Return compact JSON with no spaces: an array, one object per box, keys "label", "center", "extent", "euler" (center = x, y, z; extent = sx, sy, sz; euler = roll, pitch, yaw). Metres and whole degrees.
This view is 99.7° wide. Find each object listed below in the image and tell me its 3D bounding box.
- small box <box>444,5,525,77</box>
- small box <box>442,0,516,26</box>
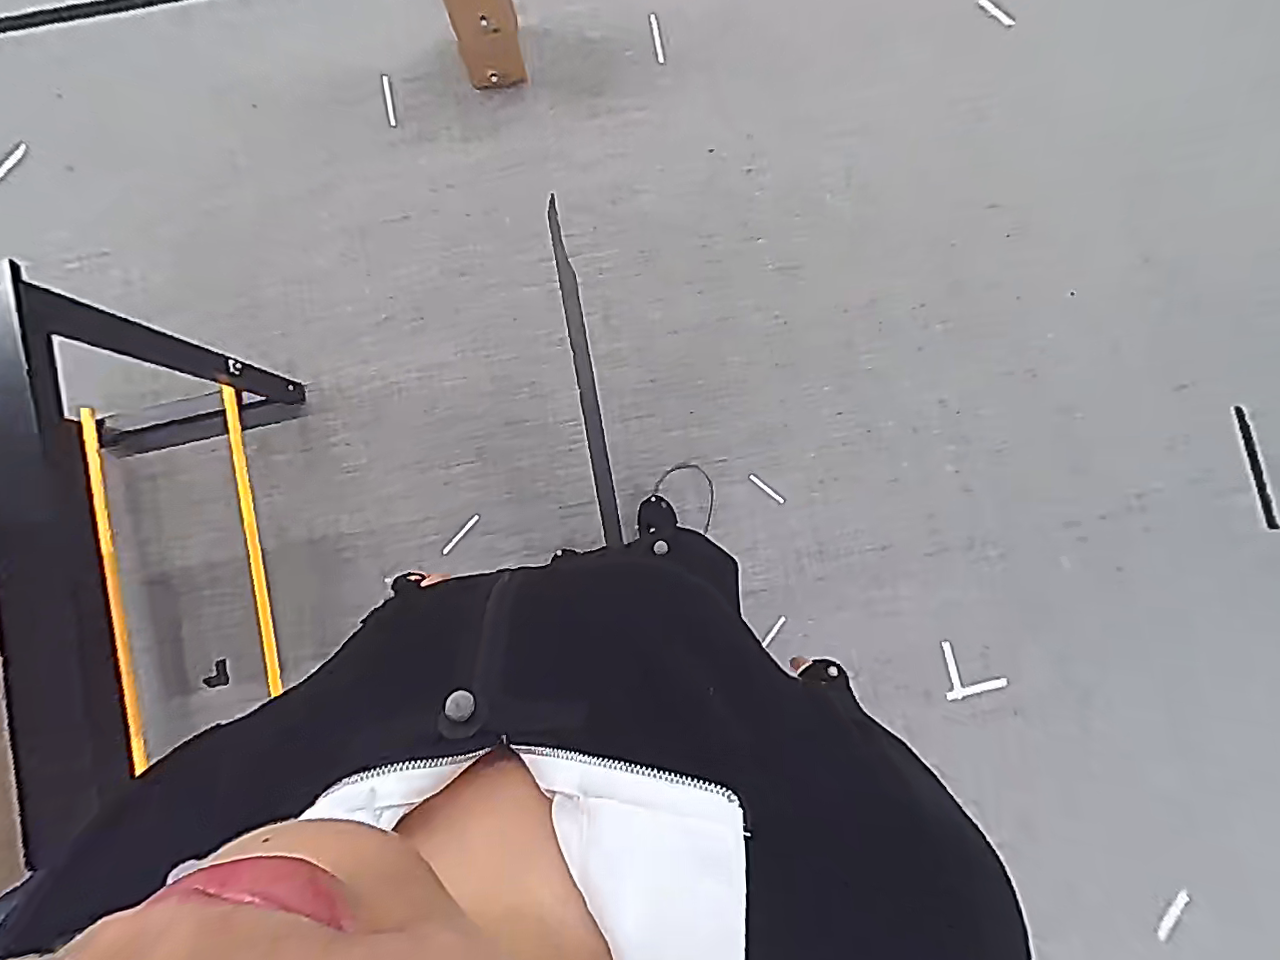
[{"label":"small box","center":[-0.408,-1.204,1.406],"extent":[0.168,0.176,0.179],"euler":[-12,89,-1]},{"label":"small box","center":[-0.395,-1.205,1.241],"extent":[0.168,0.176,0.179],"euler":[-11,87,-1]}]
